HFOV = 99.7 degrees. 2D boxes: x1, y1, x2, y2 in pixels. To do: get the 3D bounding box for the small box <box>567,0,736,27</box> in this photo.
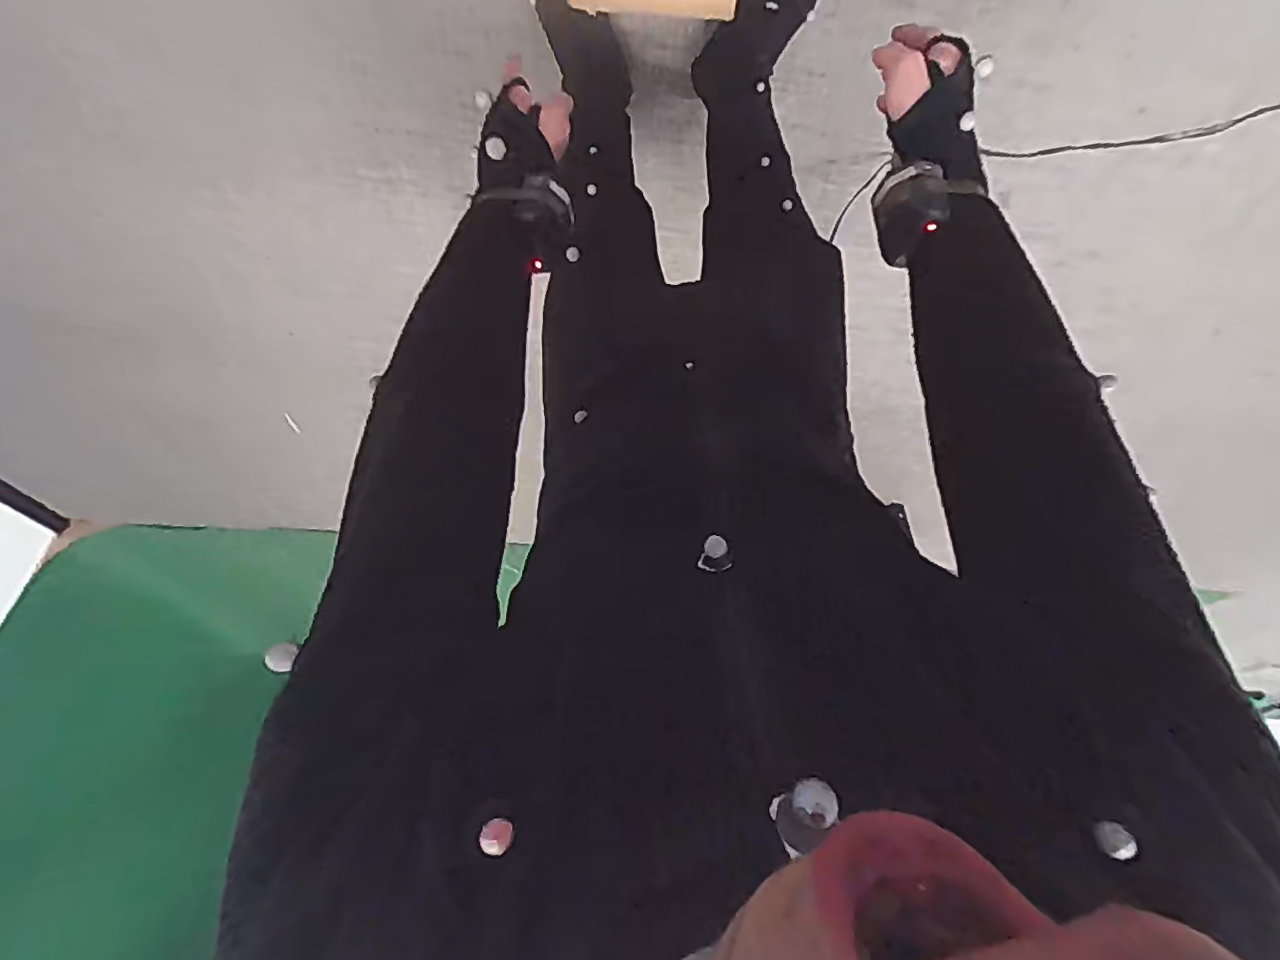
[{"bbox_3d":[0.022,-0.594,0.540,0.179,0.176,0.168,5,148,-1],"label":"small box"}]
